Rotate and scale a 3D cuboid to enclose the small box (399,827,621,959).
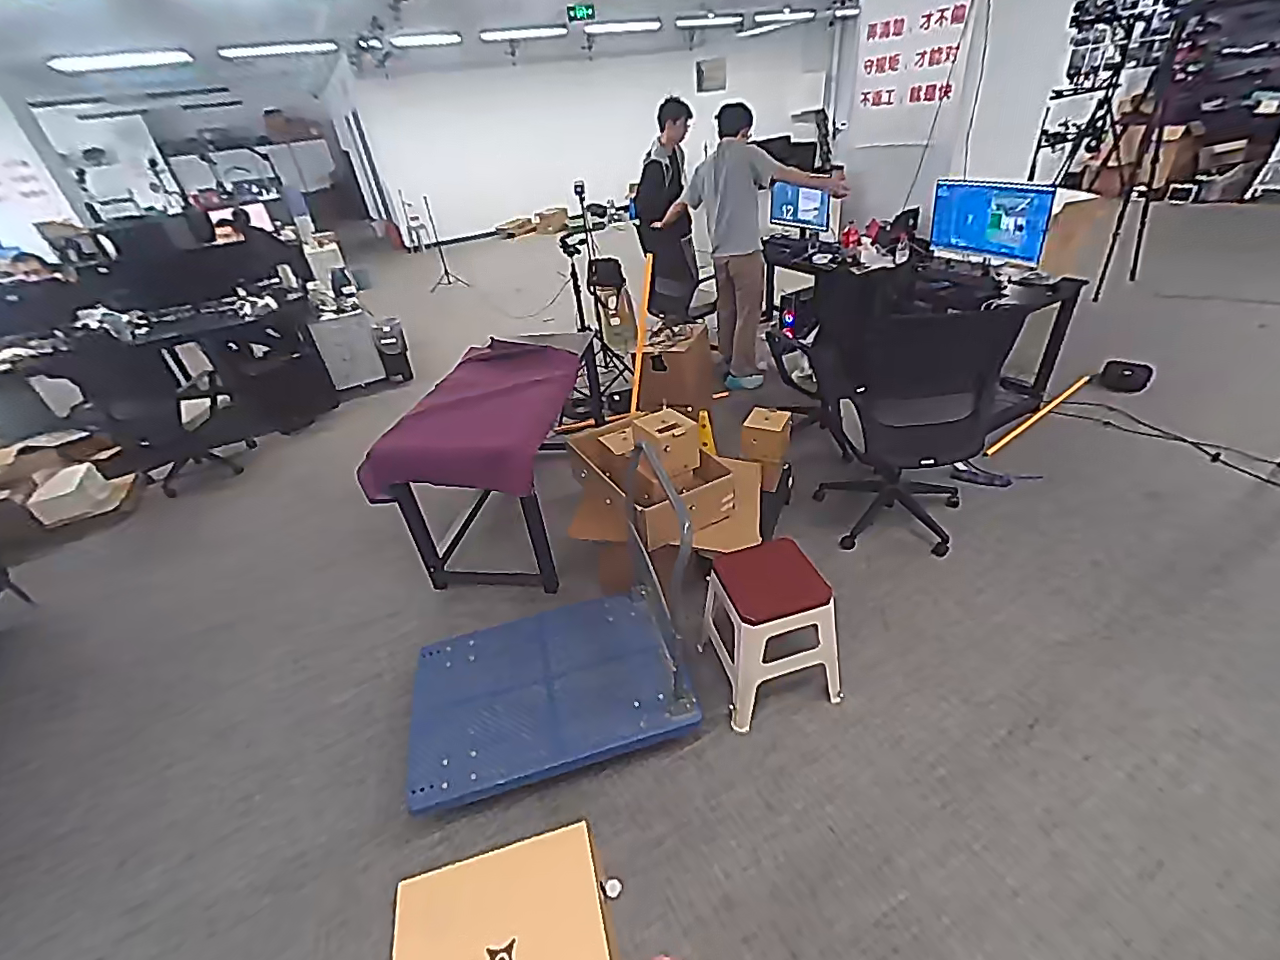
[{"bbox_3d":[-0.101,0.445,0.466,0.168,0.176,0.179,-12,39,-9],"label":"small box"}]
